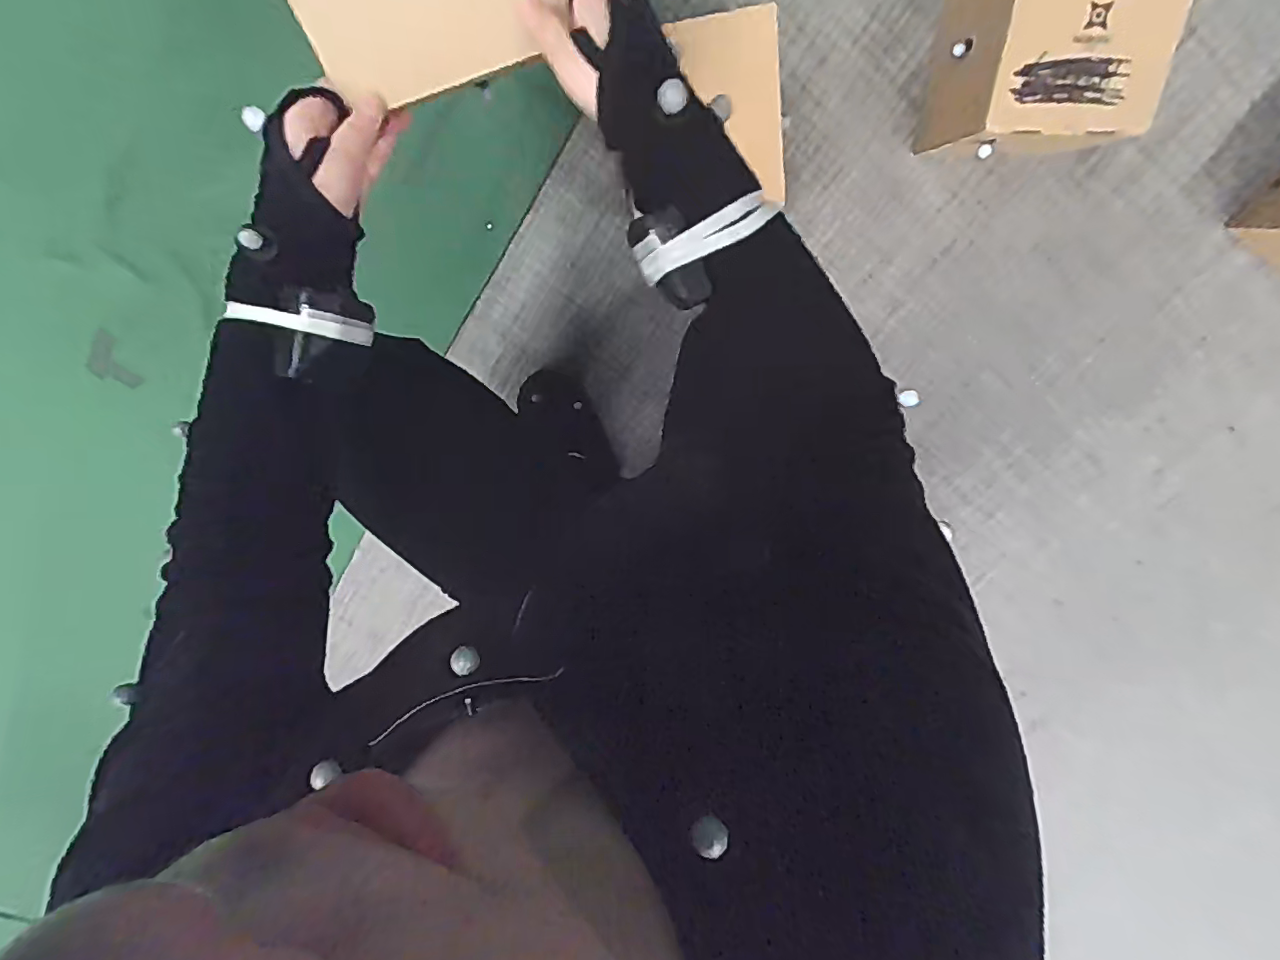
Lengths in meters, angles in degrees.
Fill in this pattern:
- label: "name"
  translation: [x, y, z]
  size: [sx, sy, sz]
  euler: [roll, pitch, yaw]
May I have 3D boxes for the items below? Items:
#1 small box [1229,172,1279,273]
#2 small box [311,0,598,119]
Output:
- label: "small box"
  translation: [0.888, -0.330, 0.637]
  size: [0.179, 0.176, 0.168]
  euler: [26, 113, -8]
- label: "small box"
  translation: [-0.131, -0.380, 0.371]
  size: [0.168, 0.176, 0.179]
  euler: [-13, 127, 9]
